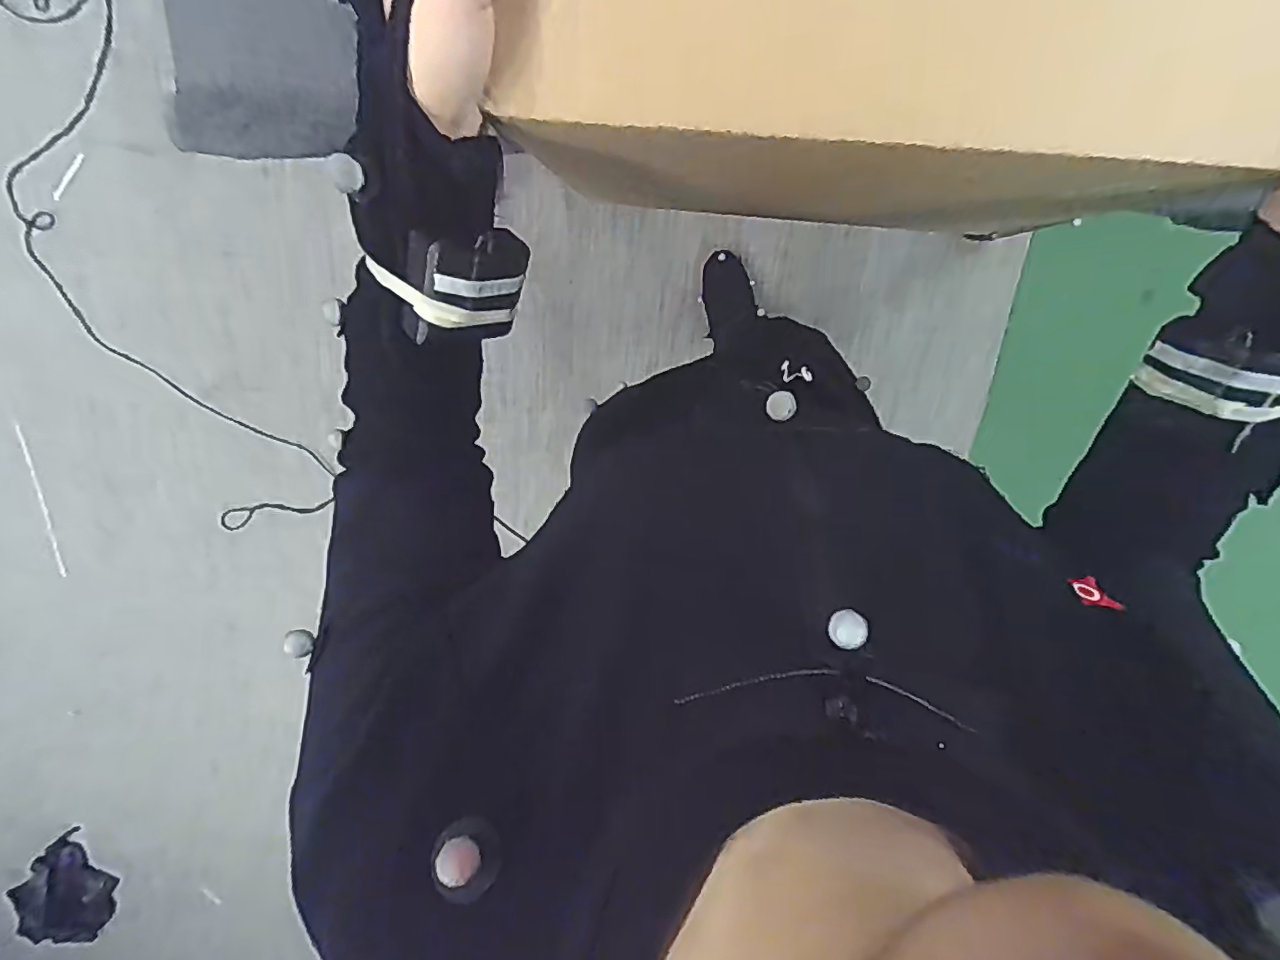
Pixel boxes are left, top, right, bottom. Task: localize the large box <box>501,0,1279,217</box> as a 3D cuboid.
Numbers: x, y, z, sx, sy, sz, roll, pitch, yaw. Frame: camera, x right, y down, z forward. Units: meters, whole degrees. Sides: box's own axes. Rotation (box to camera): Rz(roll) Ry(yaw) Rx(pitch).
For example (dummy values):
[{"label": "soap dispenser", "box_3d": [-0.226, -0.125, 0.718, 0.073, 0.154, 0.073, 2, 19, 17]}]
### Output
[{"label": "large box", "box_3d": [0.143, -0.363, 0.346, 0.408, 0.320, 0.320, 4, 111, 1]}]
